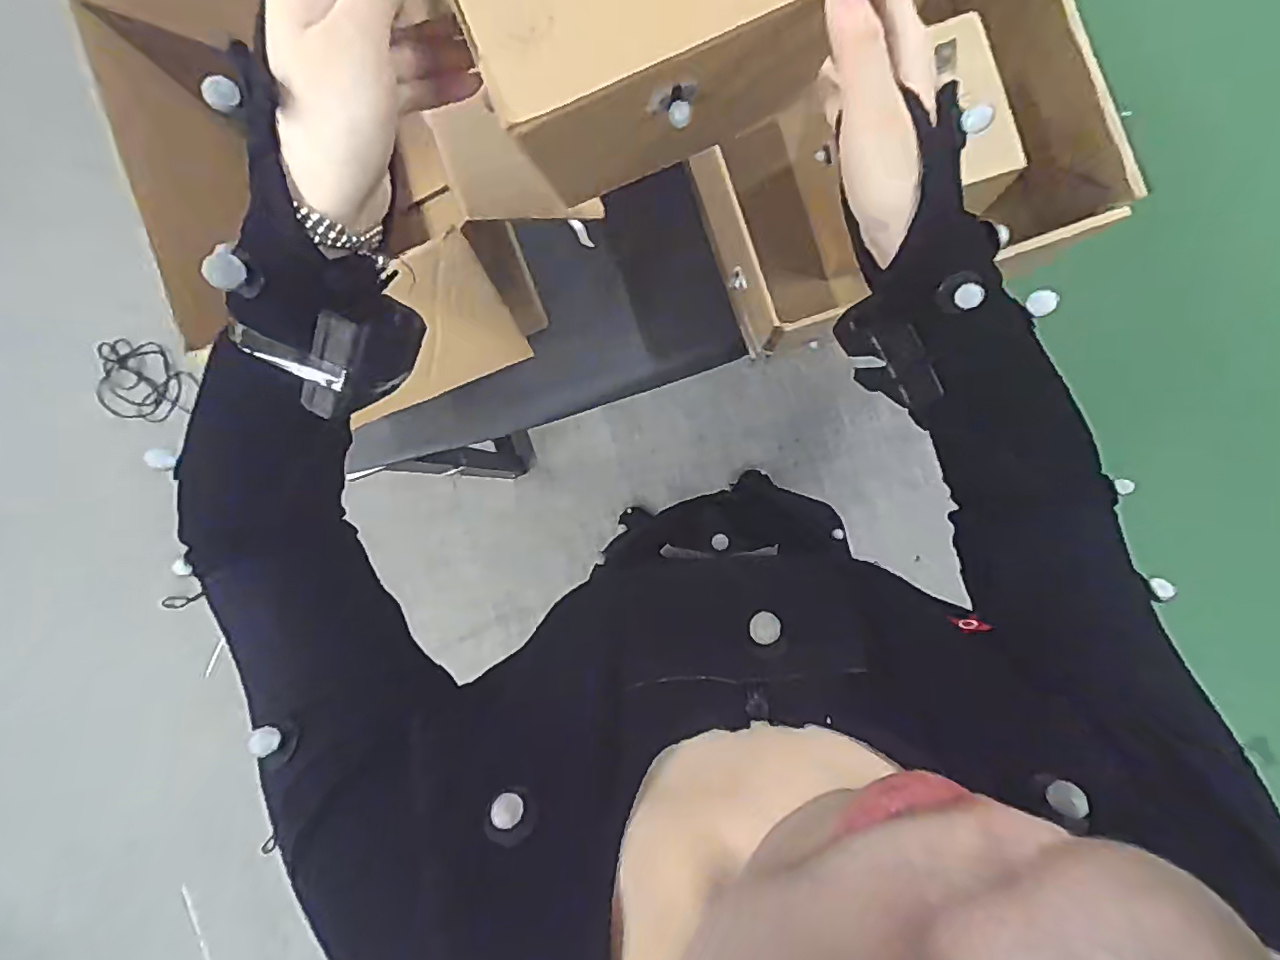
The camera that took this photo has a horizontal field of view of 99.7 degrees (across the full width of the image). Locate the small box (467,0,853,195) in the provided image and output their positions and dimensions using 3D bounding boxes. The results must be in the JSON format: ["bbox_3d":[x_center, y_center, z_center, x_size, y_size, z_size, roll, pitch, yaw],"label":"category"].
[{"bbox_3d":[0.002,-0.281,0.291,0.179,0.176,0.168,-19,105,7],"label":"small box"}]
